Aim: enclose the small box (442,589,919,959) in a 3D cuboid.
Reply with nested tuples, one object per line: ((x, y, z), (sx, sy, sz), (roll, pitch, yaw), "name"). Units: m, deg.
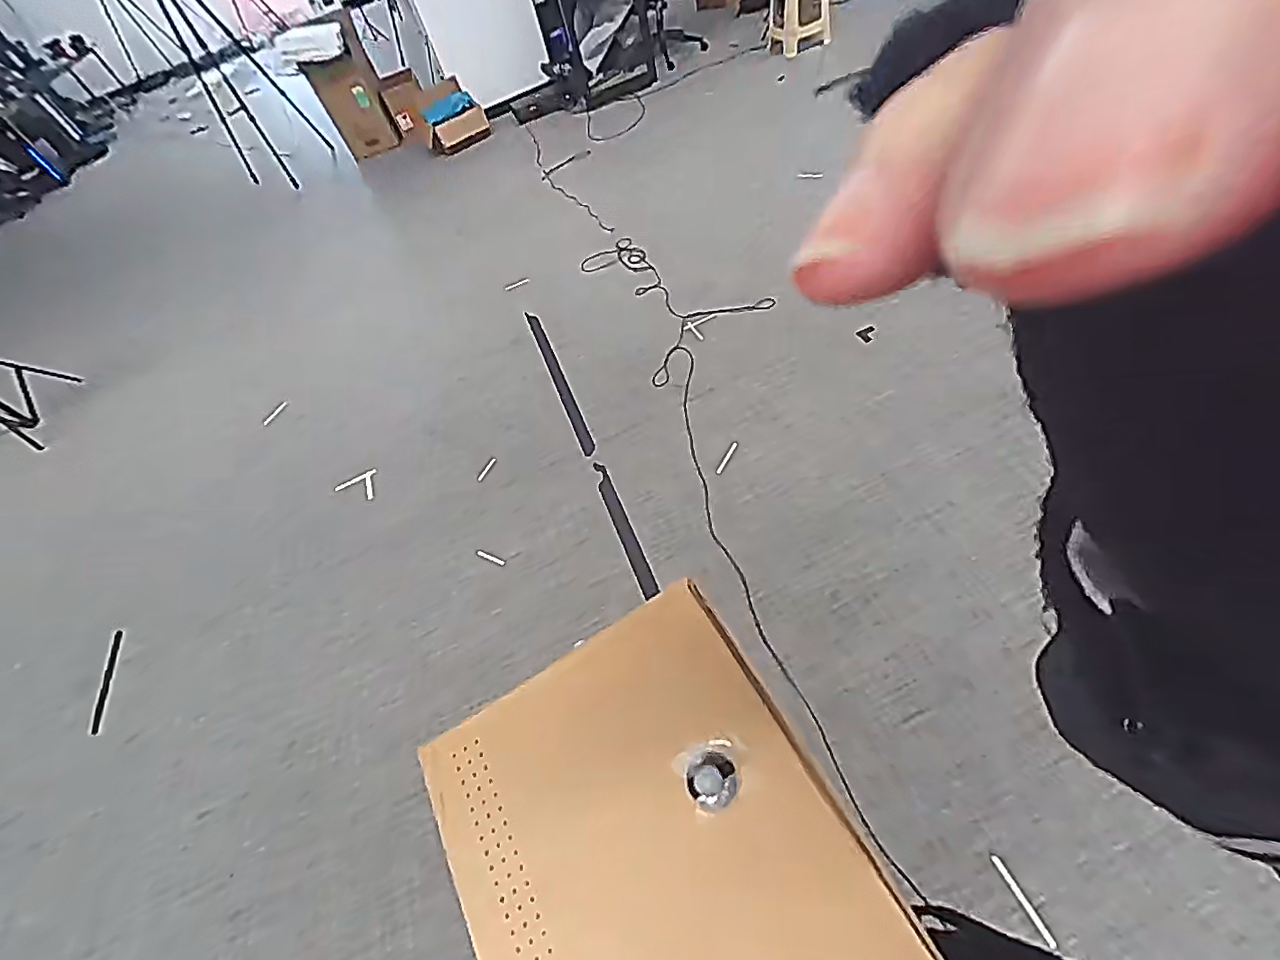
((0.016, 0.196, 0.313), (0.176, 0.168, 0.179), (-33, 61, 0), "small box")
